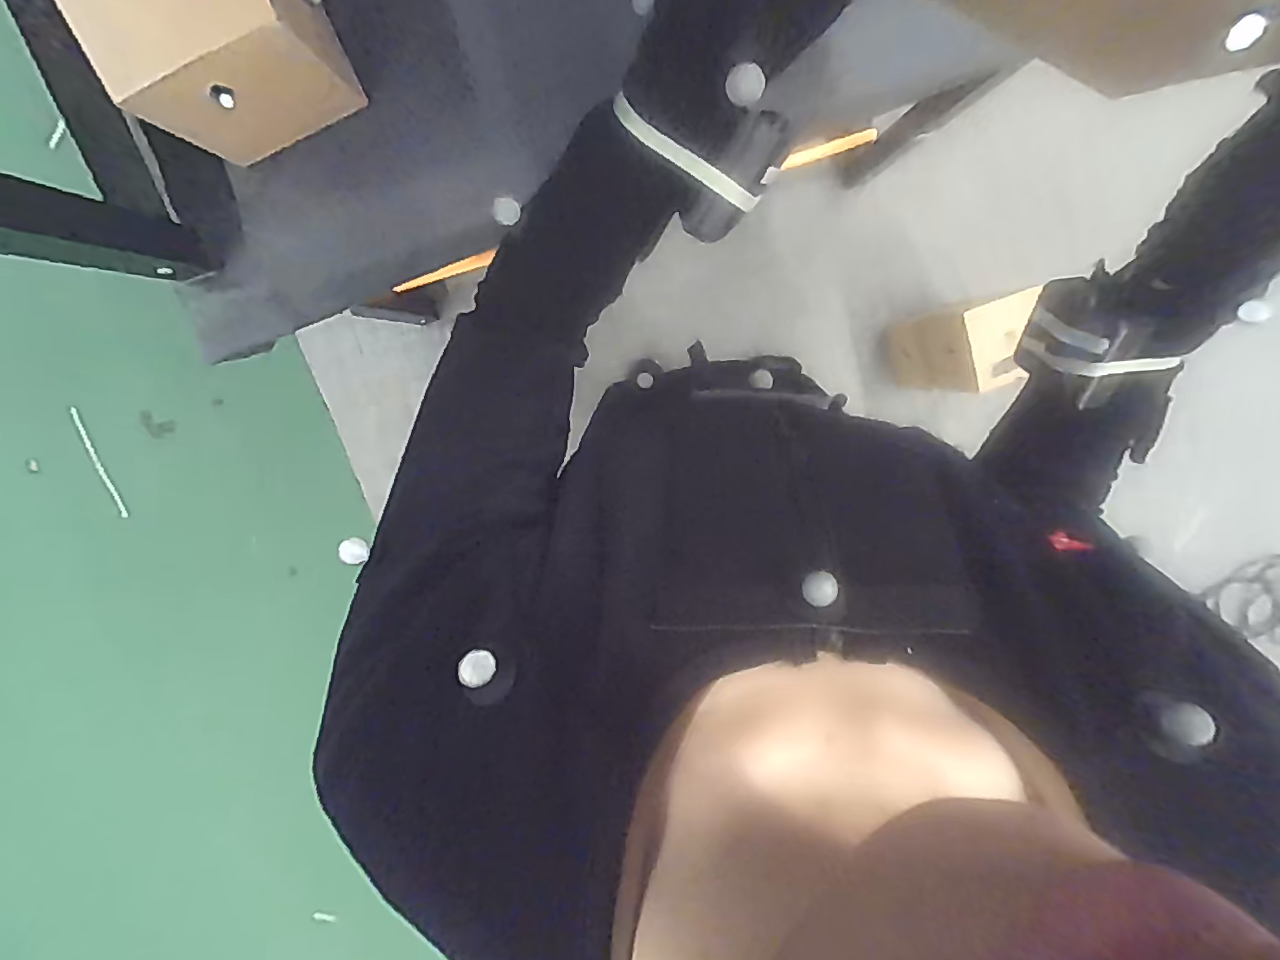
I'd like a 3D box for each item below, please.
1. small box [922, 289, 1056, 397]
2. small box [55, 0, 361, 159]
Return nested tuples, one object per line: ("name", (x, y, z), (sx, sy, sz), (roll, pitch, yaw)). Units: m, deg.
("small box", (0.743, -0.291, 1.166), (0.168, 0.176, 0.179), (-19, 101, 4))
("small box", (-0.429, -0.461, 0.544), (0.179, 0.176, 0.168), (-22, 102, 4))
